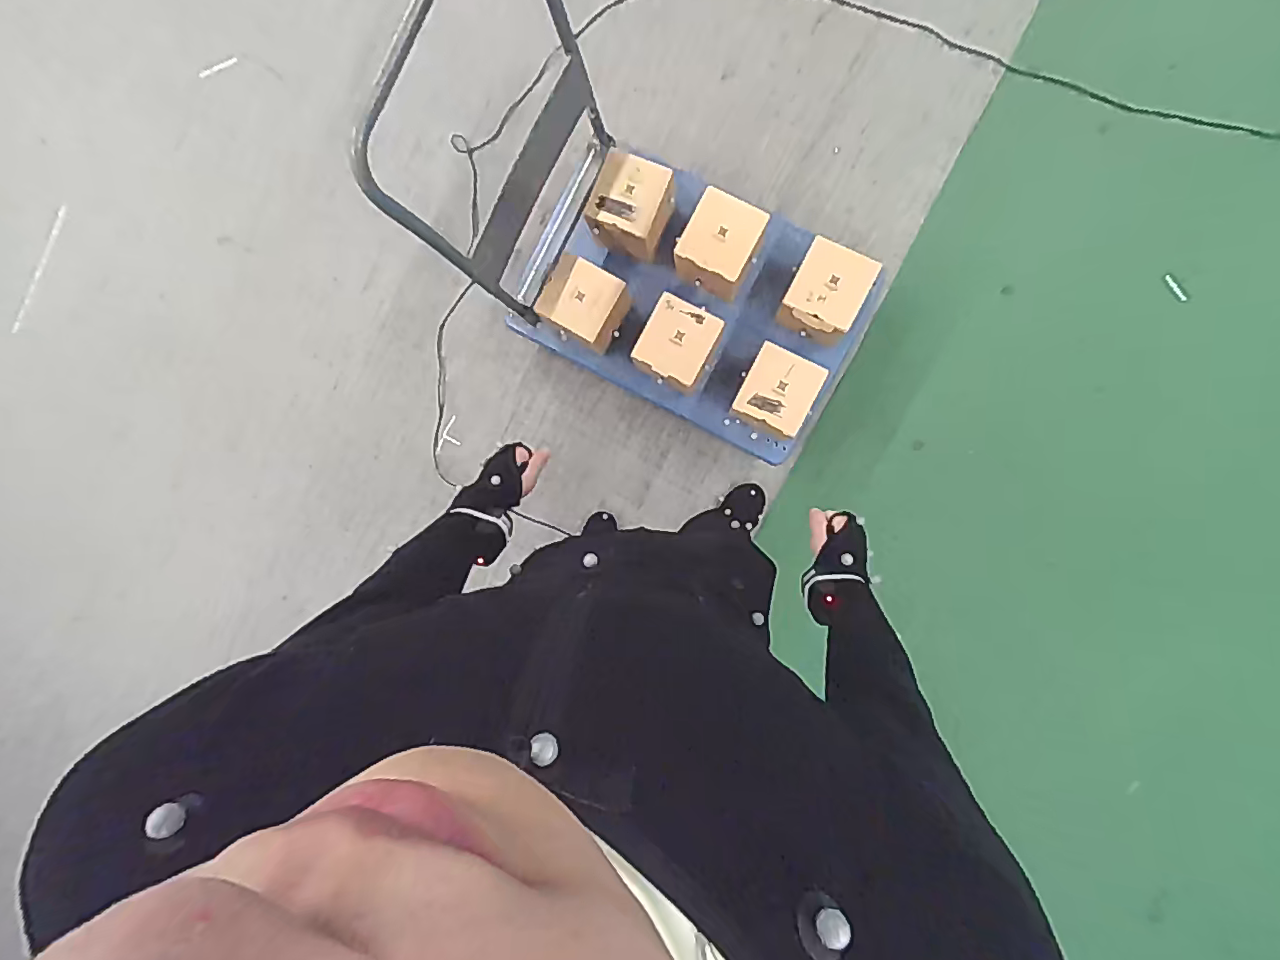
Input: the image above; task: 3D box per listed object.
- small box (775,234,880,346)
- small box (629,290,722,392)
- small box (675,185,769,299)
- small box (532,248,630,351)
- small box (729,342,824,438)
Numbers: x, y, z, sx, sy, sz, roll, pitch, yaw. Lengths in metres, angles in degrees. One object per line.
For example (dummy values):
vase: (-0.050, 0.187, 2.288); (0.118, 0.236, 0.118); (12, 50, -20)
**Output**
small box: (0.445, -0.454, 1.321); (0.168, 0.176, 0.179); (28, 94, 5)
small box: (0.093, -0.339, 1.358); (0.168, 0.176, 0.179); (29, 94, 4)
small box: (0.197, -0.583, 1.345); (0.168, 0.176, 0.179); (29, 95, 4)
small box: (-0.142, -0.449, 1.379); (0.179, 0.176, 0.168); (31, 94, 3)
small box: (0.332, -0.216, 1.354); (0.168, 0.176, 0.179); (27, 93, 4)
